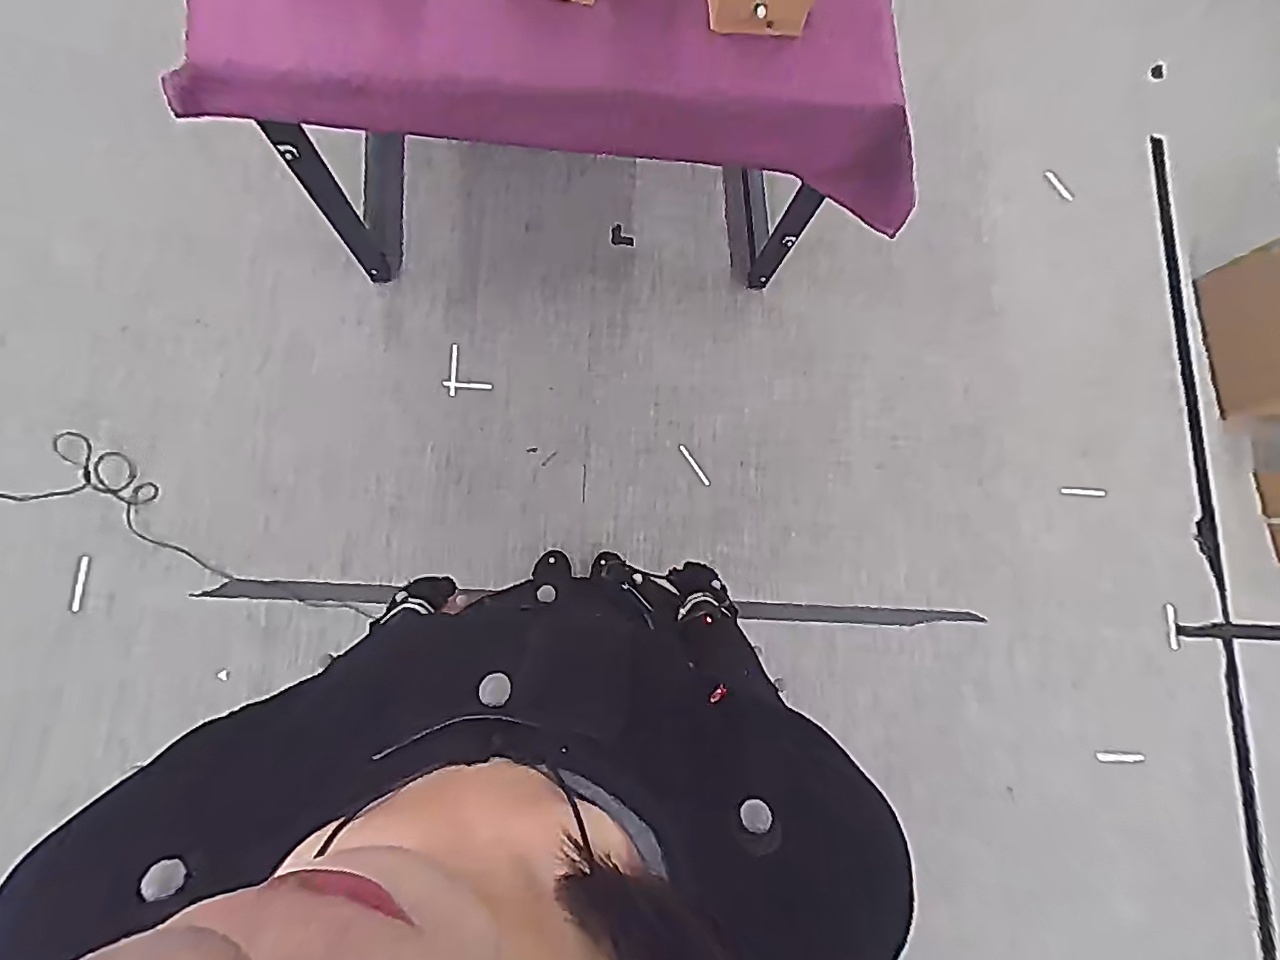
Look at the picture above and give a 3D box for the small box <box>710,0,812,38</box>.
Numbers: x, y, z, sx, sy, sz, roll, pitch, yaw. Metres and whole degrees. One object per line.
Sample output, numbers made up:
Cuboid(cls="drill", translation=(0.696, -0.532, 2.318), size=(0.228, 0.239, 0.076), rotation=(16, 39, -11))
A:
Cuboid(cls="small box", translation=(0.214, -0.903, 0.911), size=(0.168, 0.176, 0.179), rotation=(-3, 82, -7))
